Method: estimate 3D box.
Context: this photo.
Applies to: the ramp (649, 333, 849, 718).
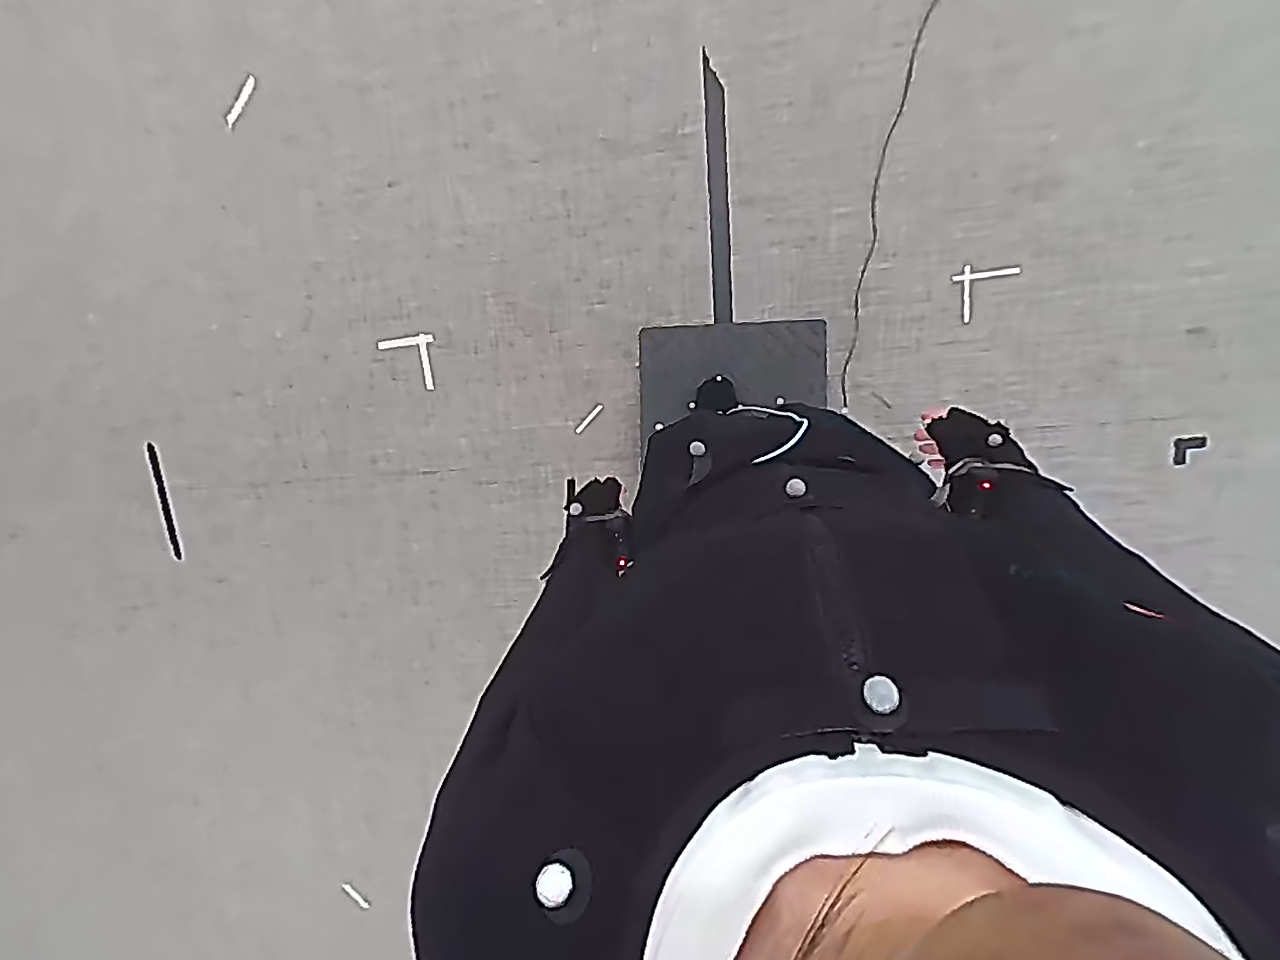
[{"bbox_3d":[0.277,0.118,1.439,0.509,0.206,0.991,-4,97,10],"label":"ramp"}]
